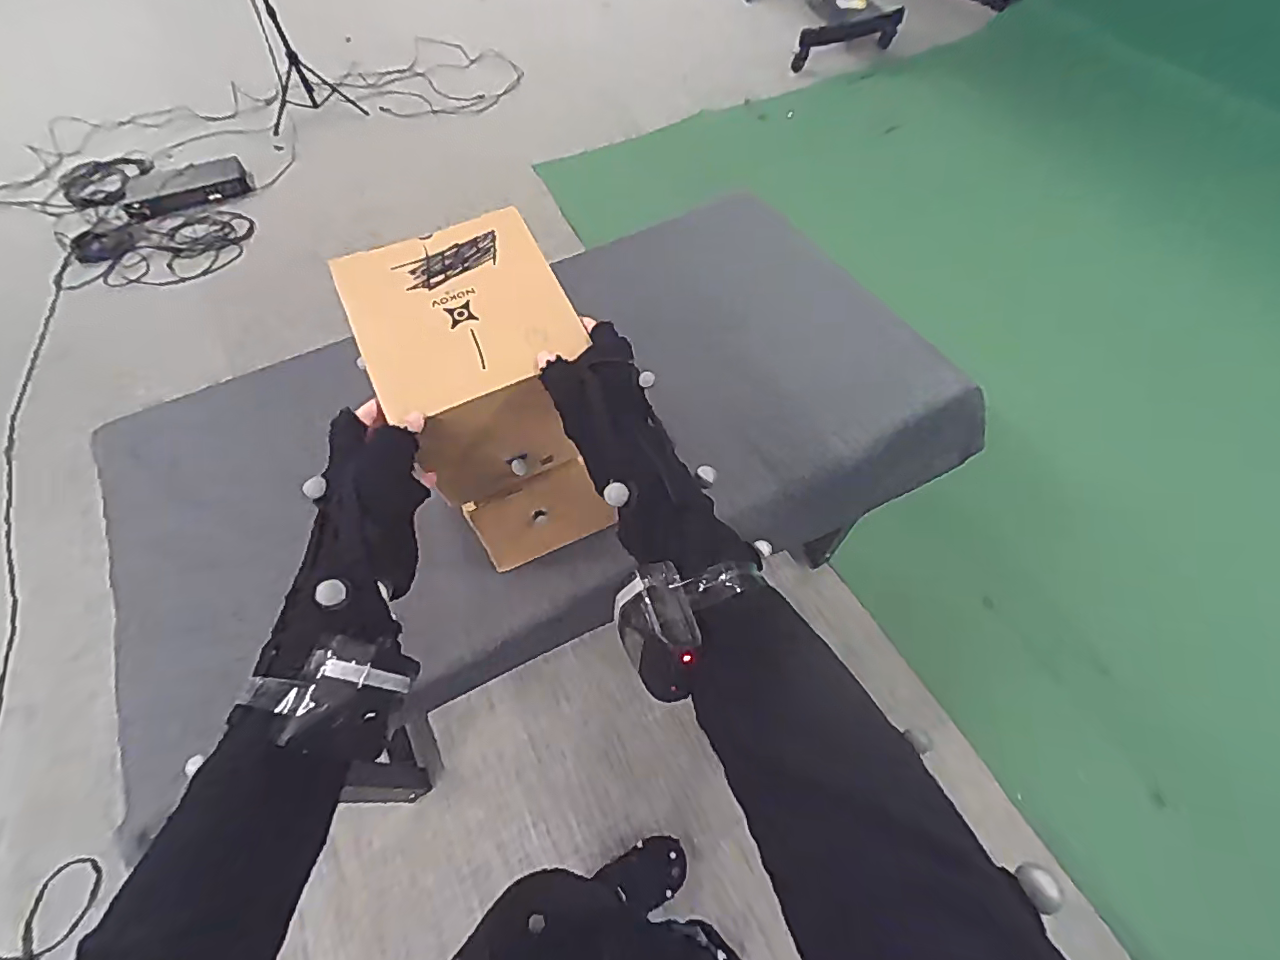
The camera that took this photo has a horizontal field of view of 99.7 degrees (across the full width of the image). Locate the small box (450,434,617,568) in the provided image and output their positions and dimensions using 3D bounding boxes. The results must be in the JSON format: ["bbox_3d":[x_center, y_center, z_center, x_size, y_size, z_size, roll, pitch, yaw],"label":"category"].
[{"bbox_3d":[-0.142,-0.013,0.685,0.179,0.176,0.168,-24,61,-12],"label":"small box"}]

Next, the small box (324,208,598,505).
[{"bbox_3d":[-0.152,-0.107,0.505,0.168,0.176,0.179,-28,68,-13],"label":"small box"}]
